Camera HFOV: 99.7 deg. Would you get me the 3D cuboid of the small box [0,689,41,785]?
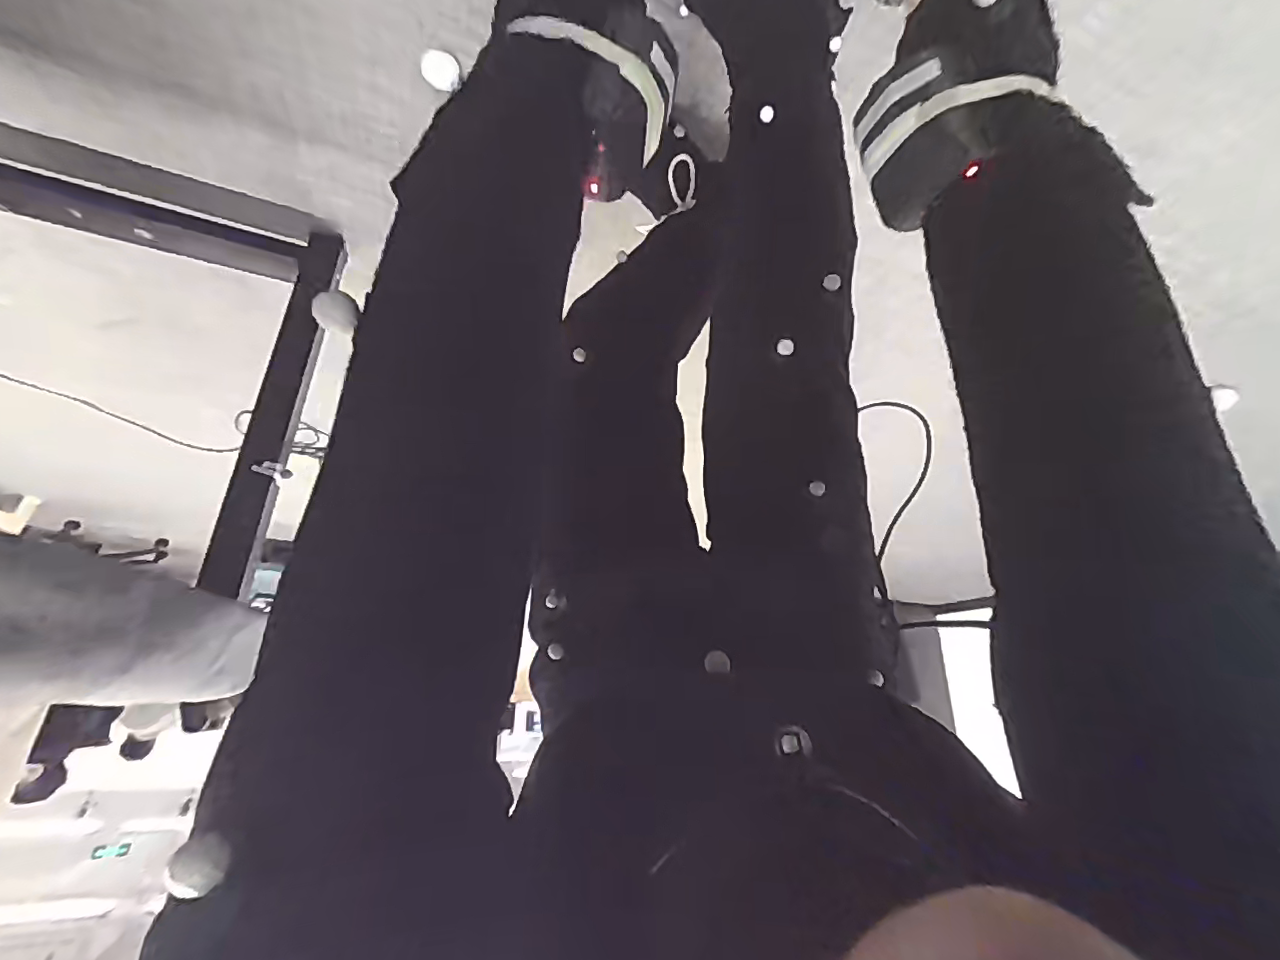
[{"bbox_3d":[-0.568,0.215,0.342,0.179,0.176,0.168,9,156,-18],"label":"small box"}]
